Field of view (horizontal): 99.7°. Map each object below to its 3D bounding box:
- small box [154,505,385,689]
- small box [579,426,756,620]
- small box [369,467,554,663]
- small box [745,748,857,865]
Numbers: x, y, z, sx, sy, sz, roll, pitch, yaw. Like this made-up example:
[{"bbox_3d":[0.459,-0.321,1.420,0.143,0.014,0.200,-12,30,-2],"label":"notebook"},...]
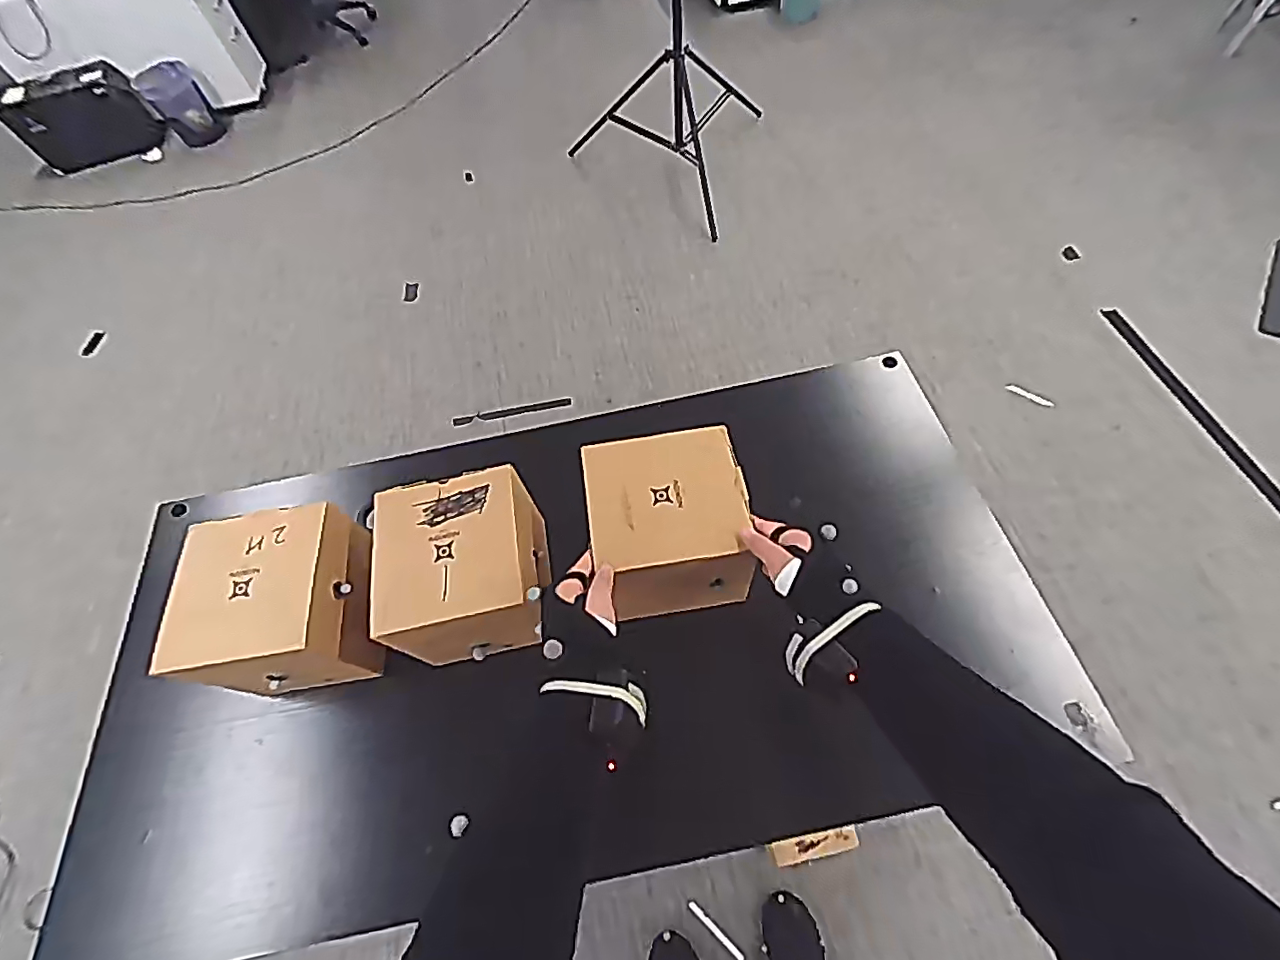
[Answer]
[{"bbox_3d":[-0.432,0.154,0.672,0.168,0.176,0.179,-9,60,0],"label":"small box"},{"bbox_3d":[0.030,0.059,0.665,0.179,0.176,0.168,-10,58,0],"label":"small box"},{"bbox_3d":[-0.211,0.111,0.674,0.168,0.176,0.179,-12,61,-1],"label":"small box"},{"bbox_3d":[0.326,0.681,1.137,0.168,0.176,0.179,-13,60,-1],"label":"small box"}]
